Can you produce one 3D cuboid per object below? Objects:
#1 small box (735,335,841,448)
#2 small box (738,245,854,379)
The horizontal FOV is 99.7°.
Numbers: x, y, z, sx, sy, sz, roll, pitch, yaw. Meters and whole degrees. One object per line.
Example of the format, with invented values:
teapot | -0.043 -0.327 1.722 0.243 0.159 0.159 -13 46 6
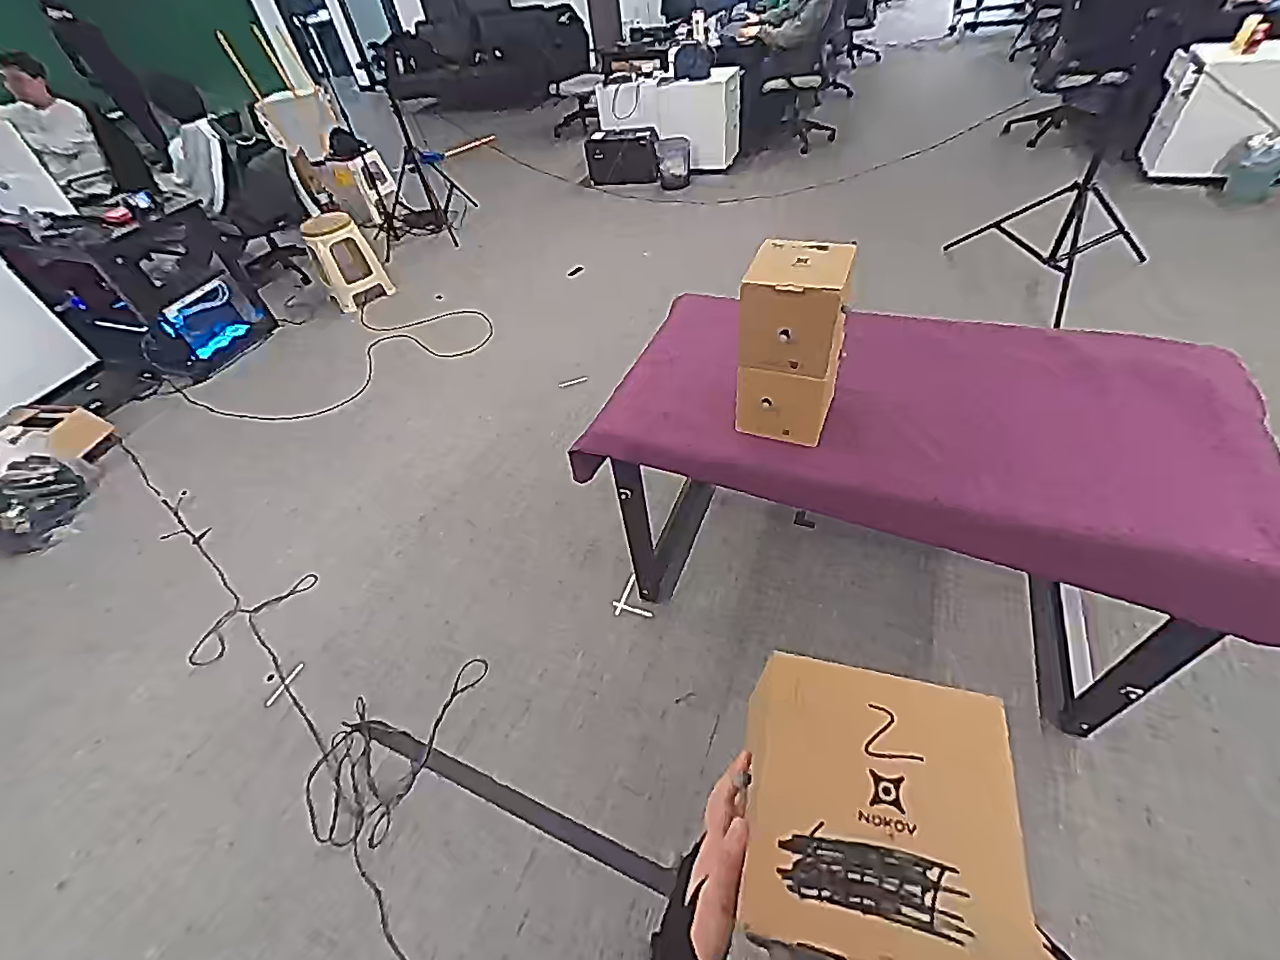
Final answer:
small box | 0.299 -0.189 1.103 0.168 0.176 0.179 14 50 21
small box | 0.281 -0.306 0.989 0.168 0.176 0.179 13 50 20
